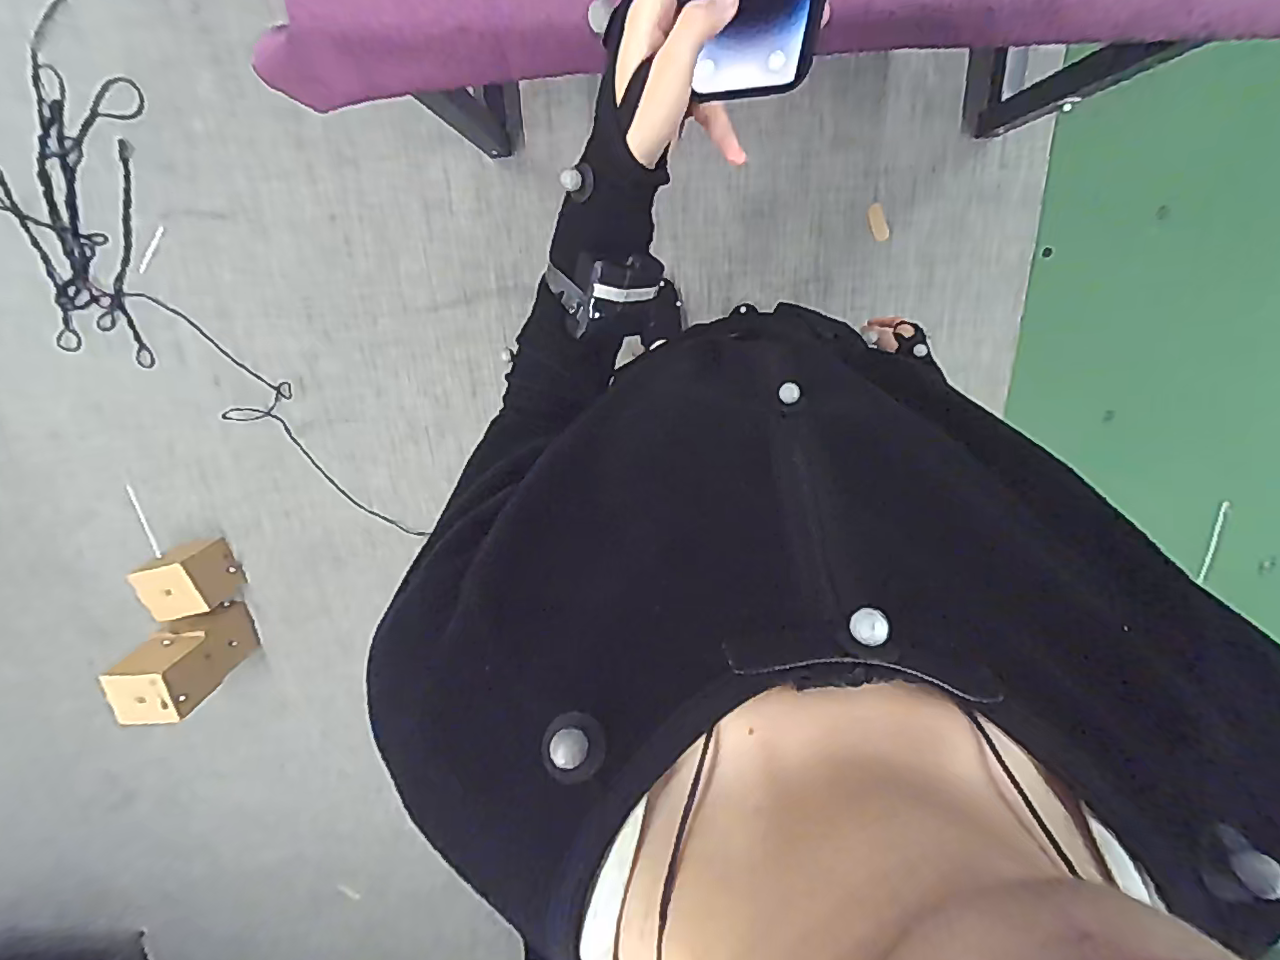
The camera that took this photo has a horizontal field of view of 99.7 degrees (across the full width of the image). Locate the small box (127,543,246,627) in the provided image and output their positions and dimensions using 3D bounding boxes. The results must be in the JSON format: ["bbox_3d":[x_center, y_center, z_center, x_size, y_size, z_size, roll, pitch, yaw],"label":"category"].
[{"bbox_3d":[-1.330,0.306,1.600,0.179,0.176,0.168,-13,110,6],"label":"small box"}]

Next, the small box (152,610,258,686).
[{"bbox_3d":[-1.335,0.514,1.672,0.168,0.176,0.179,-3,110,3],"label":"small box"}]

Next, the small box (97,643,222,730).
[{"bbox_3d":[-1.339,0.574,1.520,0.179,0.176,0.168,-2,110,3],"label":"small box"}]
